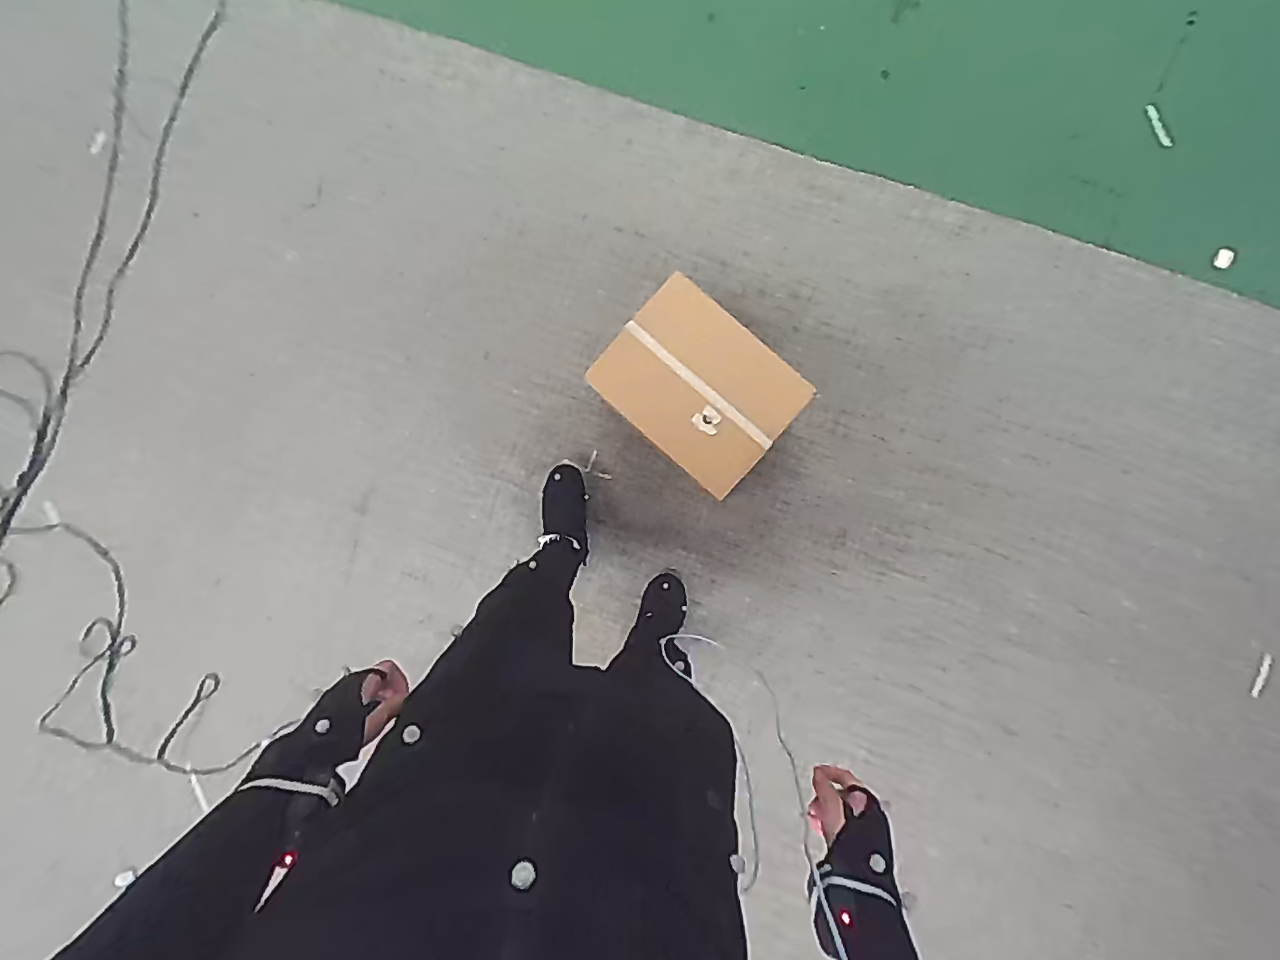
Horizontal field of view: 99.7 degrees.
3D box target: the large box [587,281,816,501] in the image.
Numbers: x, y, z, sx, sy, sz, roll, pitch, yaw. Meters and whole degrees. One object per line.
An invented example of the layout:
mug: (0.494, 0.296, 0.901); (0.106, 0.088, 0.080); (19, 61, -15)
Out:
large box: (0.137, -0.191, 1.312); (0.408, 0.320, 0.320); (42, 92, 4)
